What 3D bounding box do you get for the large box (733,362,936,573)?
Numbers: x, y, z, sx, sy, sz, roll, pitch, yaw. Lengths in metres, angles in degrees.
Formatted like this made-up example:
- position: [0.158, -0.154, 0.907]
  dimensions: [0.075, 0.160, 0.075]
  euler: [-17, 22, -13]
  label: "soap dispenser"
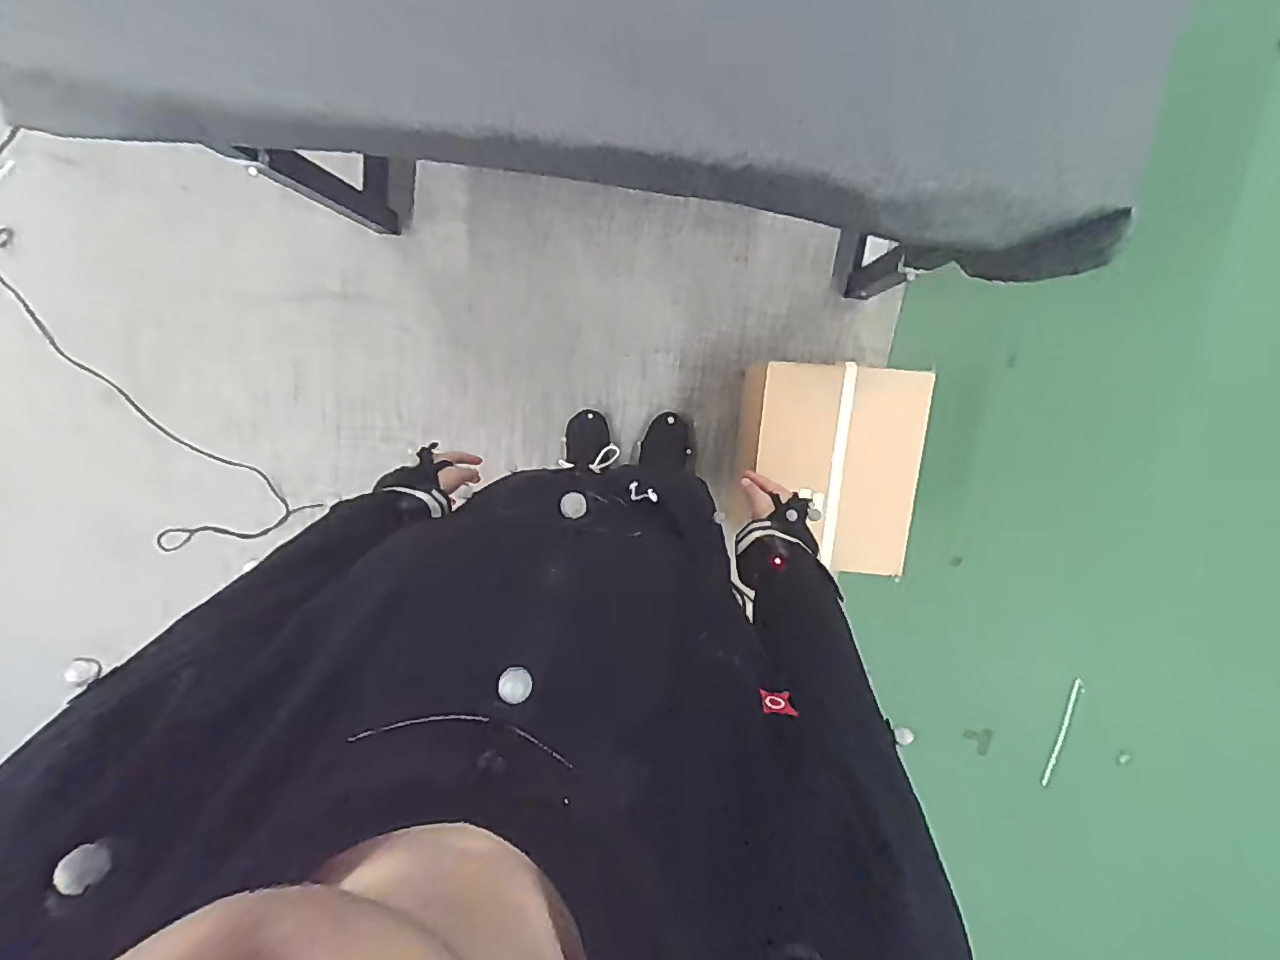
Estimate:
- position: [0.391, -0.048, 1.184]
  dimensions: [0.320, 0.320, 0.408]
  euler: [5, 101, 3]
  label: "large box"
